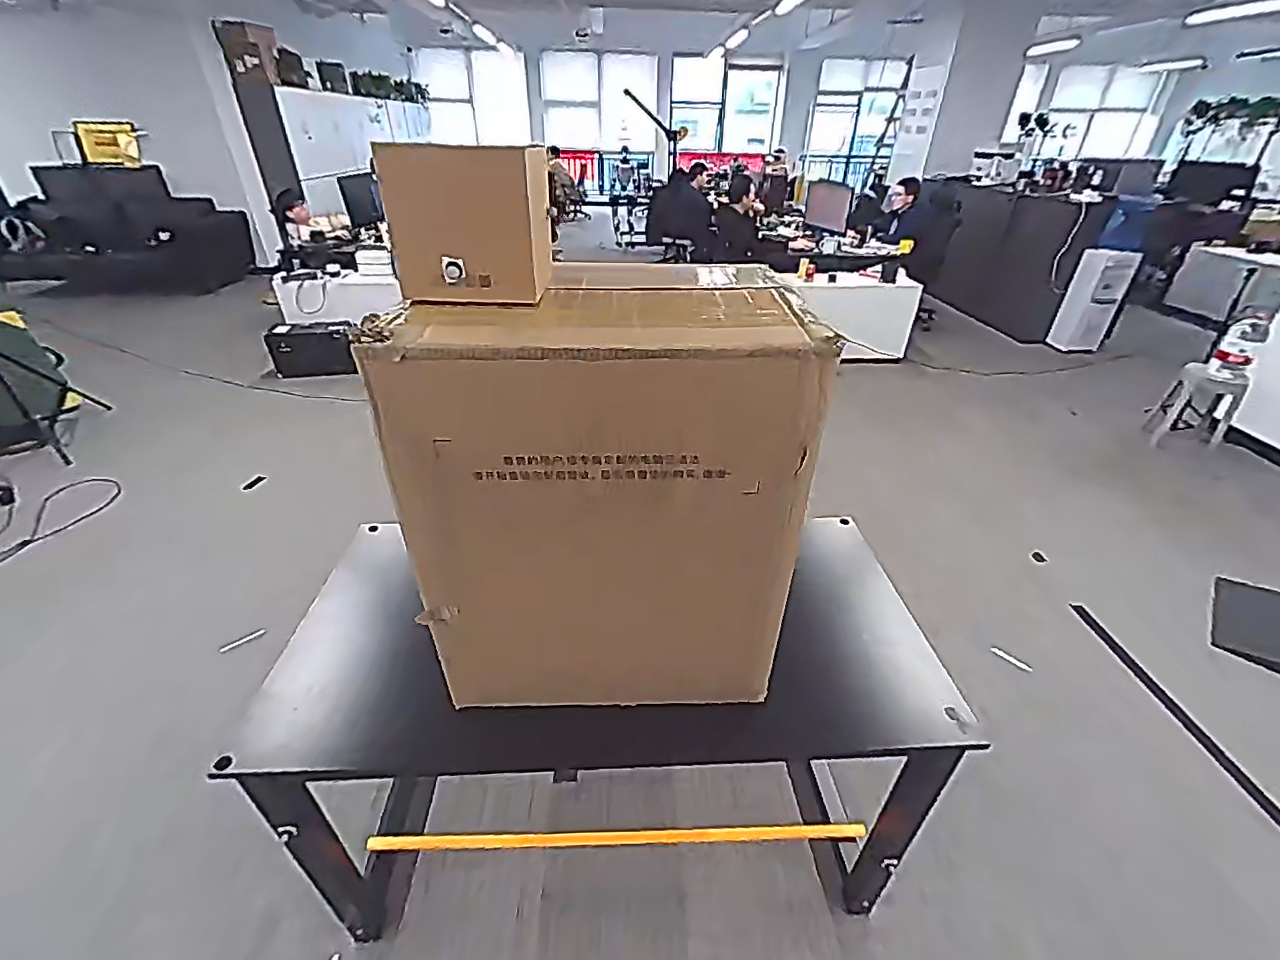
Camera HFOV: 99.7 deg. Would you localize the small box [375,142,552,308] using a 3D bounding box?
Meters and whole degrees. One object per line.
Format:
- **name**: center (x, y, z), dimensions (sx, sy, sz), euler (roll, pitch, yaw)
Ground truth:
- **small box**: center (-0.205, -0.325, 0.685), dimensions (0.168, 0.176, 0.179), euler (-1, 32, -2)
